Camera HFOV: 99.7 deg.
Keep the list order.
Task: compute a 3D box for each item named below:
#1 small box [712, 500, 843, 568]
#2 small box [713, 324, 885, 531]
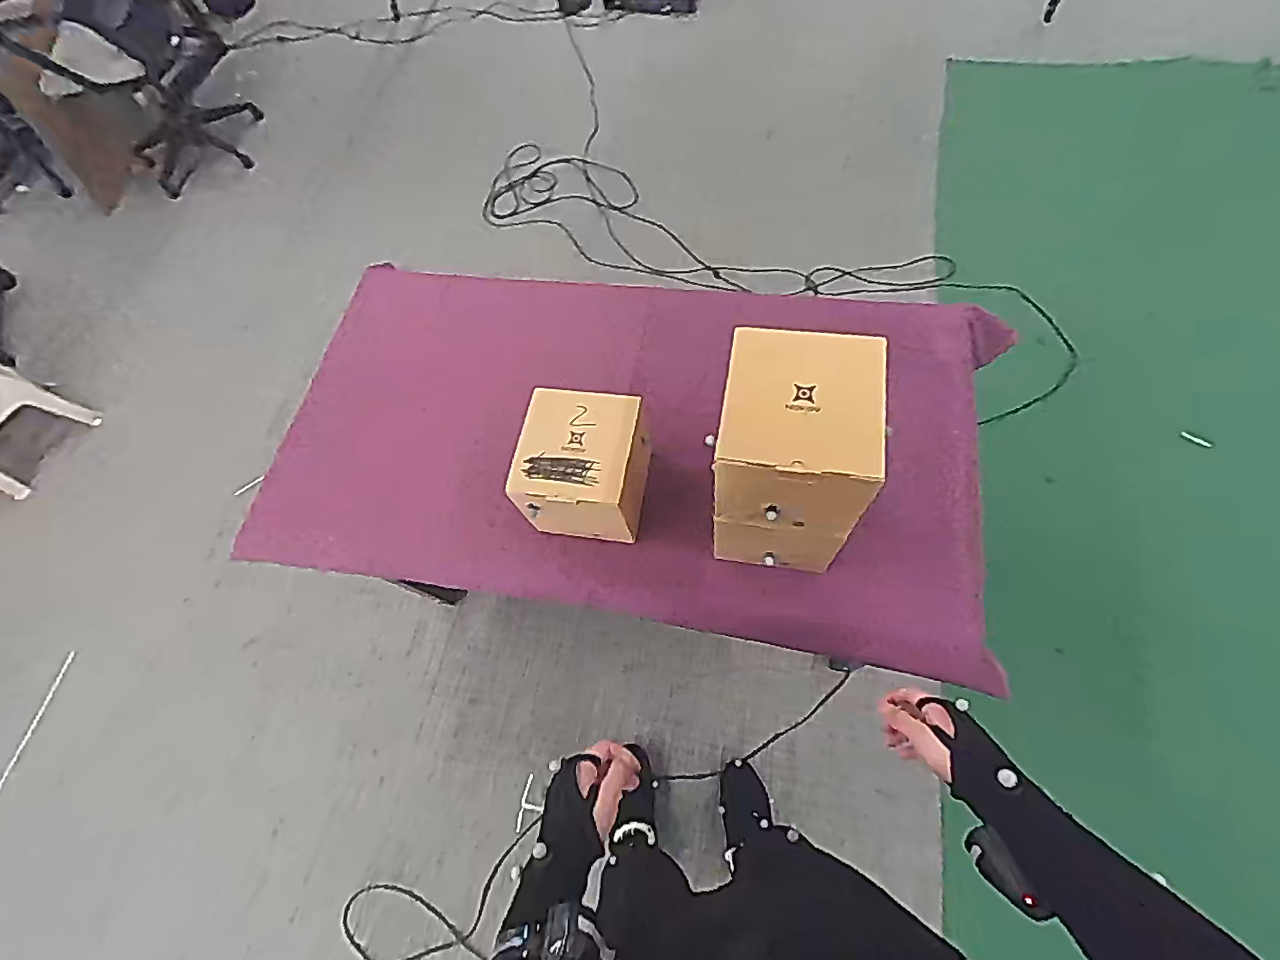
[{"bbox_3d":[0.197,0.013,0.788,0.168,0.176,0.179,8,68,11],"label":"small box"},{"bbox_3d":[0.179,-0.056,0.642,0.168,0.176,0.179,8,67,10],"label":"small box"}]
